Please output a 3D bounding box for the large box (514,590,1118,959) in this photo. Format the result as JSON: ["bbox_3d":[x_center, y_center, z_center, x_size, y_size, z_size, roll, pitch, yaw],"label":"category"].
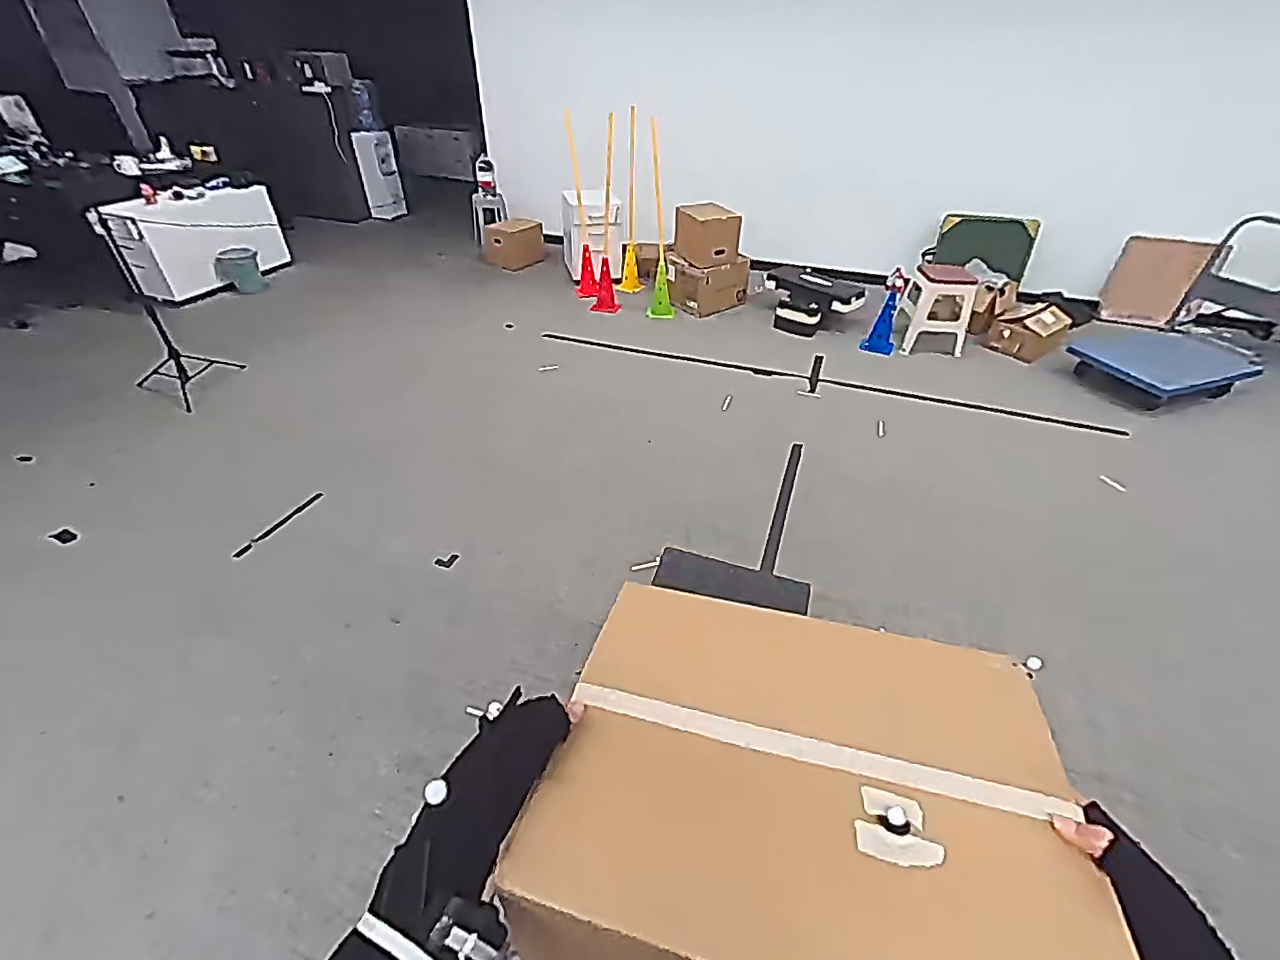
[{"bbox_3d":[0.136,0.357,0.540,0.408,0.320,0.320,9,33,14],"label":"large box"}]
